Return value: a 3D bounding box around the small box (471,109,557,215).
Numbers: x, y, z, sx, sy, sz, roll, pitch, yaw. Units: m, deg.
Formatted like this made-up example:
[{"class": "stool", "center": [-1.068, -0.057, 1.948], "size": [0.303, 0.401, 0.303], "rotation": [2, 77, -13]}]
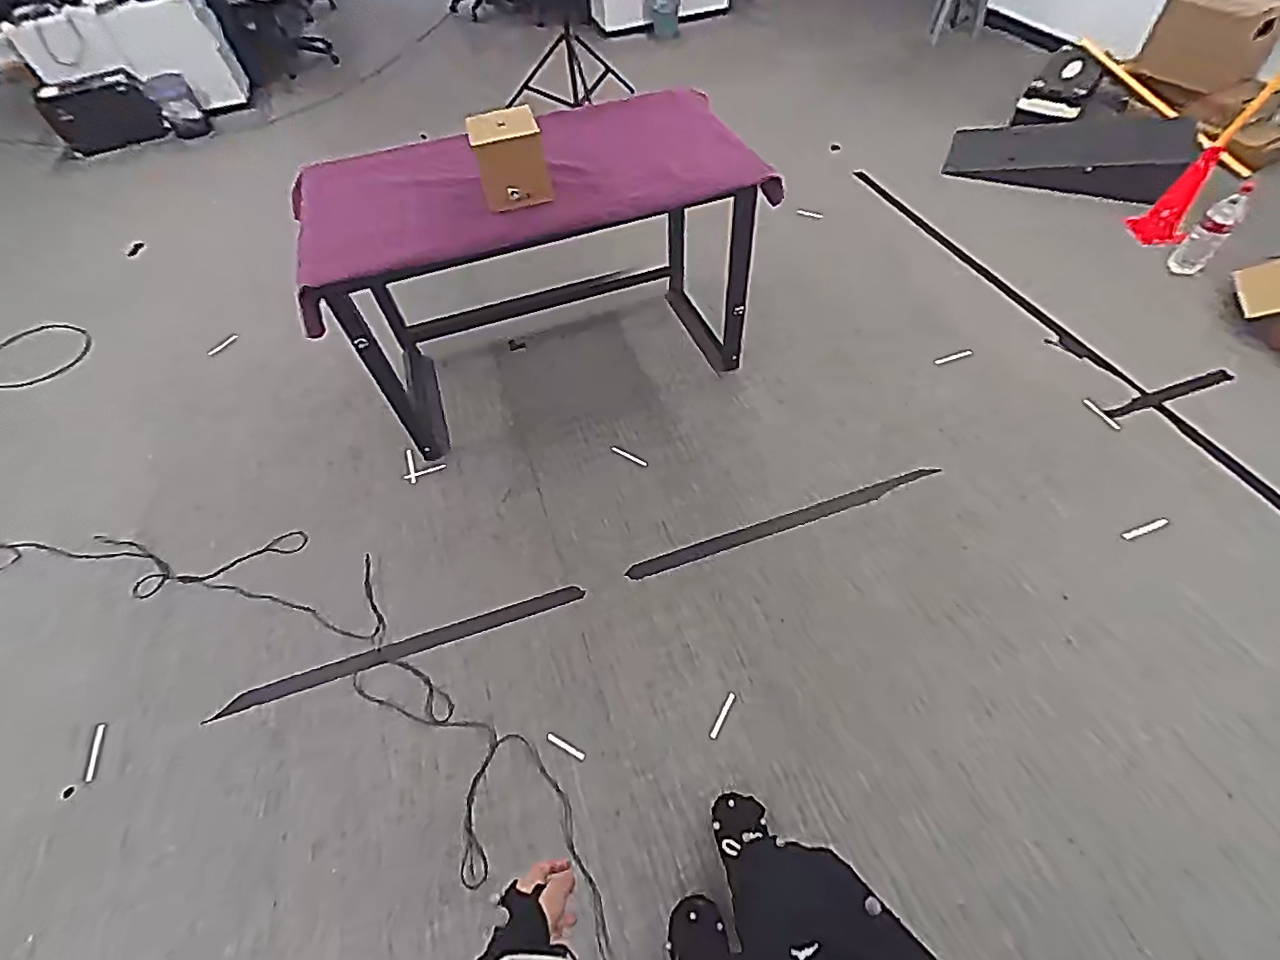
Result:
[{"class": "small box", "center": [-0.320, -0.811, 1.383], "size": [0.168, 0.176, 0.179], "rotation": [-16, 55, -6]}]
